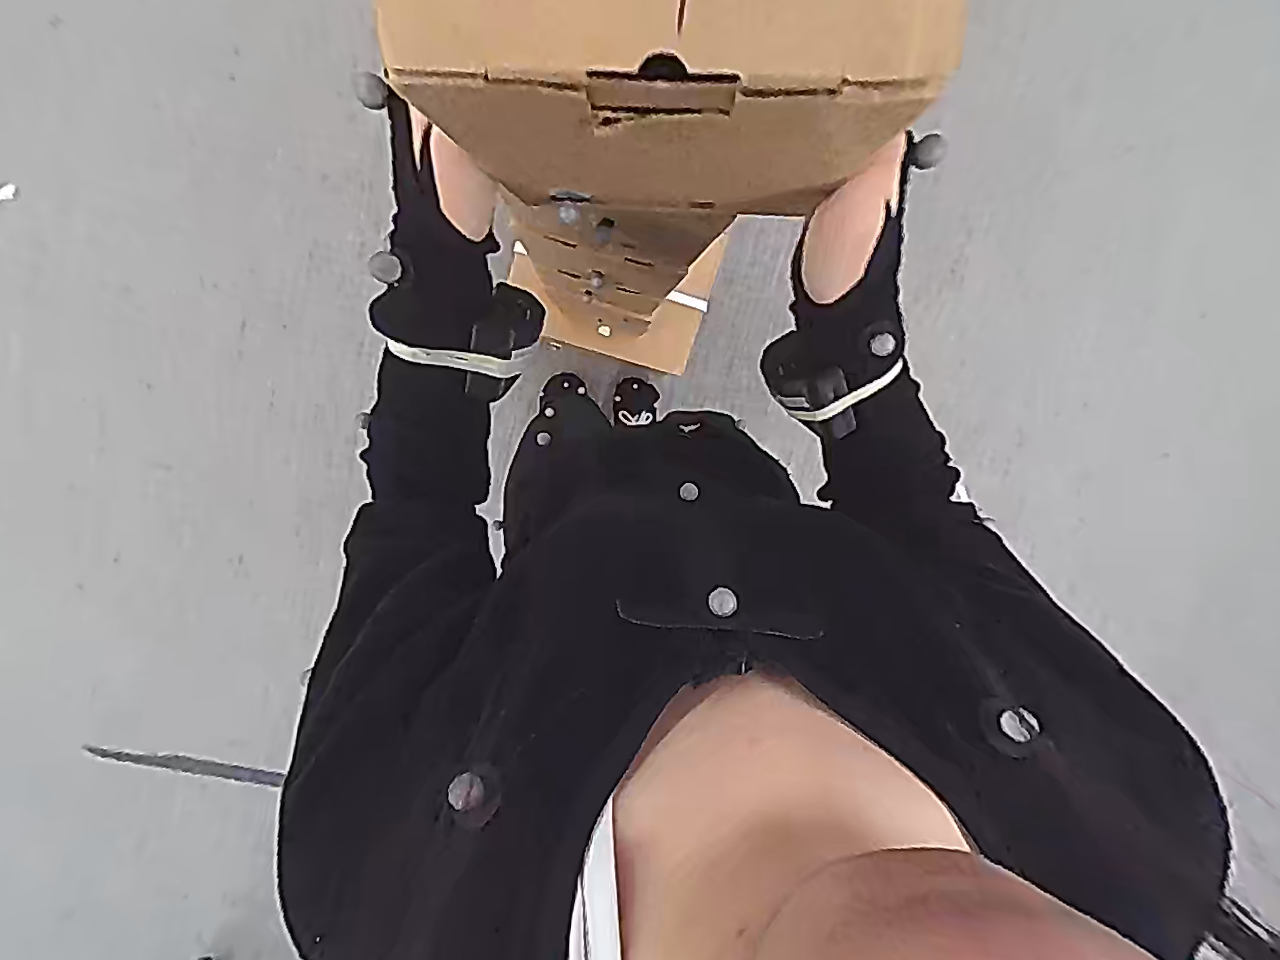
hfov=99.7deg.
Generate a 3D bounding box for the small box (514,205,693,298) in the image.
[{"bbox_3d":[-0.020,-0.302,0.552,0.168,0.176,0.179,13,101,-6],"label":"small box"}]

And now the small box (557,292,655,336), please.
[{"bbox_3d":[-0.050,-0.379,1.036,0.179,0.176,0.168,13,101,-7],"label":"small box"}]

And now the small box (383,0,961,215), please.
[{"bbox_3d":[0.015,-0.213,0.213,0.168,0.176,0.179,3,106,2],"label":"small box"}]

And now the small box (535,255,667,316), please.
[{"bbox_3d":[-0.033,-0.330,0.714,0.168,0.176,0.179,14,100,-7],"label":"small box"}]

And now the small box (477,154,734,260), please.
[{"bbox_3d":[-0.006,-0.275,0.391,0.168,0.176,0.179,12,102,-7],"label":"small box"}]
